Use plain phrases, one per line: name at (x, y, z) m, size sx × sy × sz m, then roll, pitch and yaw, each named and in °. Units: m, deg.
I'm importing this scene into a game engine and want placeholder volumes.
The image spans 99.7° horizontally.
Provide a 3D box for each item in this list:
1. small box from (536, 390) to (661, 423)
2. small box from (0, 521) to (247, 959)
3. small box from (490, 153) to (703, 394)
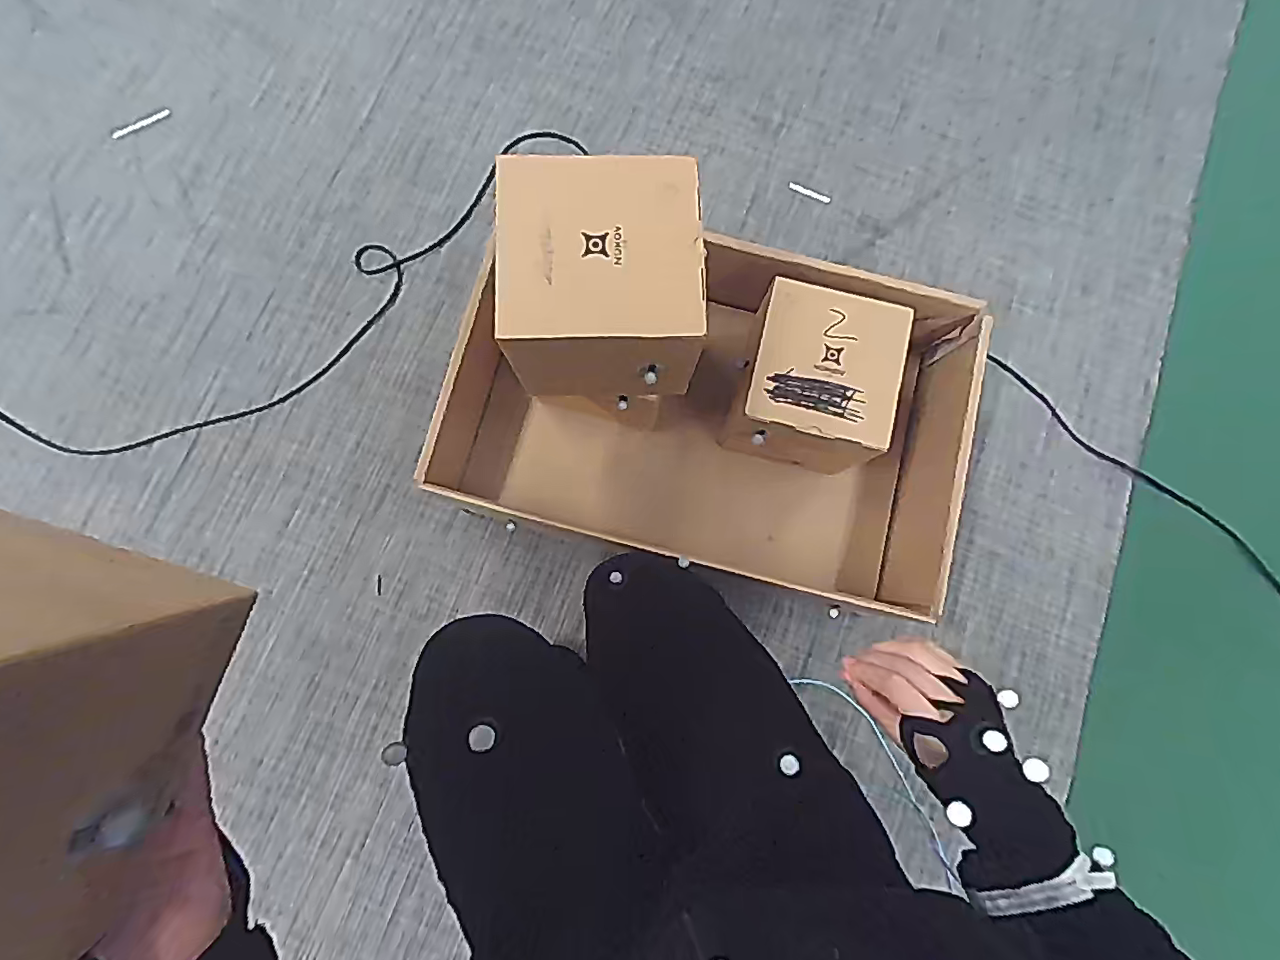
small box at (-0.046, -0.183, 0.693) m, size 0.179 × 0.176 × 0.168 m, roll 15°, pitch 83°, yaw -1°
small box at (-0.290, 0.105, 0.177) m, size 0.179 × 0.176 × 0.168 m, roll 20°, pitch 86°, yaw -7°
small box at (-0.039, -0.186, 0.530) m, size 0.179 × 0.176 × 0.168 m, roll -1°, pitch 83°, yaw -1°
